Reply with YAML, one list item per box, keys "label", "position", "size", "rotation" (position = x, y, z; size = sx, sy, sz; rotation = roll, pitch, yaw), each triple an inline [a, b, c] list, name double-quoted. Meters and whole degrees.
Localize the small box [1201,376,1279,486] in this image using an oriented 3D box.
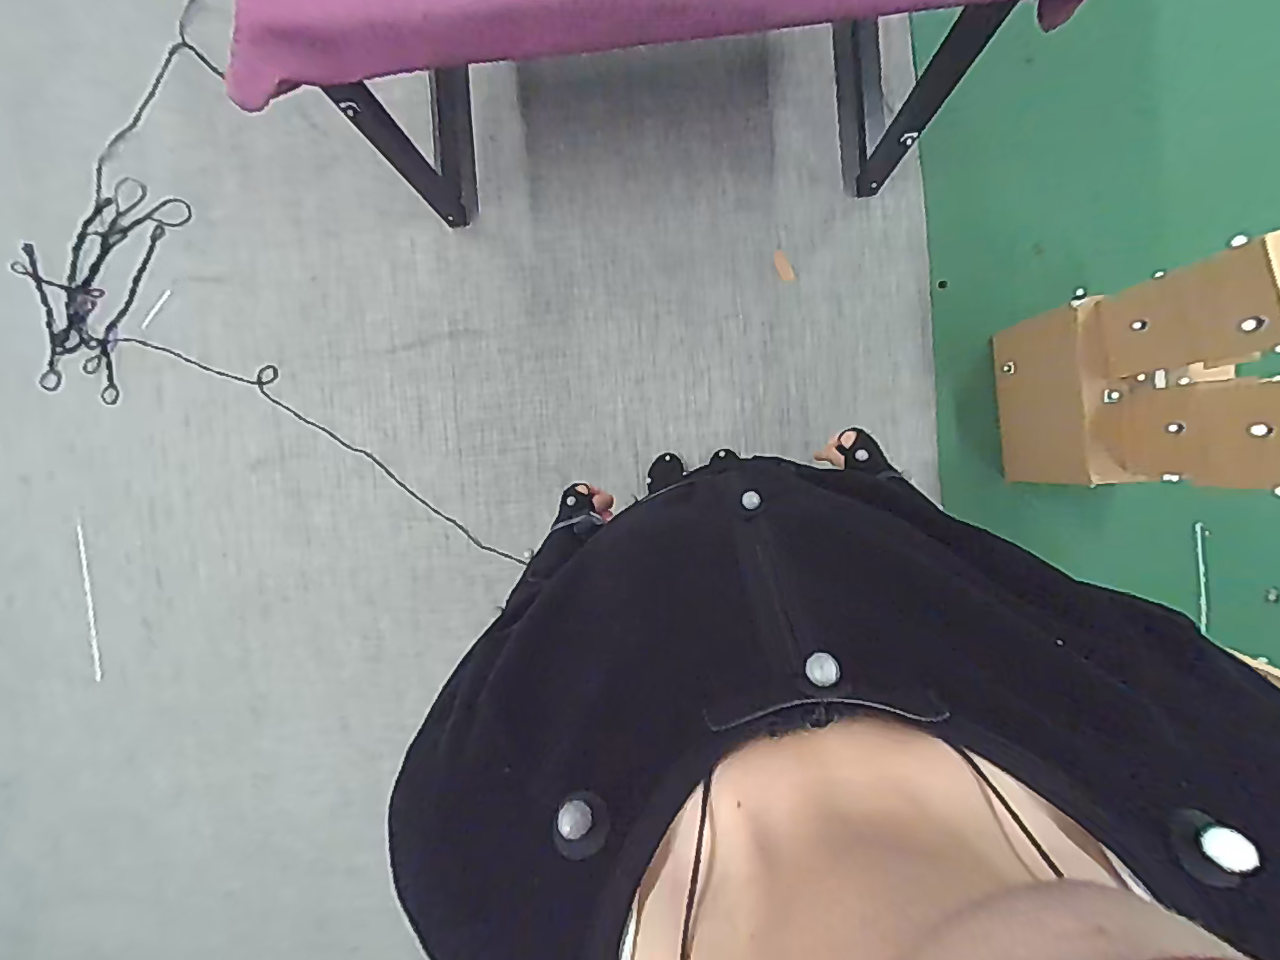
- label: "small box"
  position: [1.085, -0.079, 0.888]
  size: [0.168, 0.176, 0.179]
  rotation: [-3, 90, 5]
